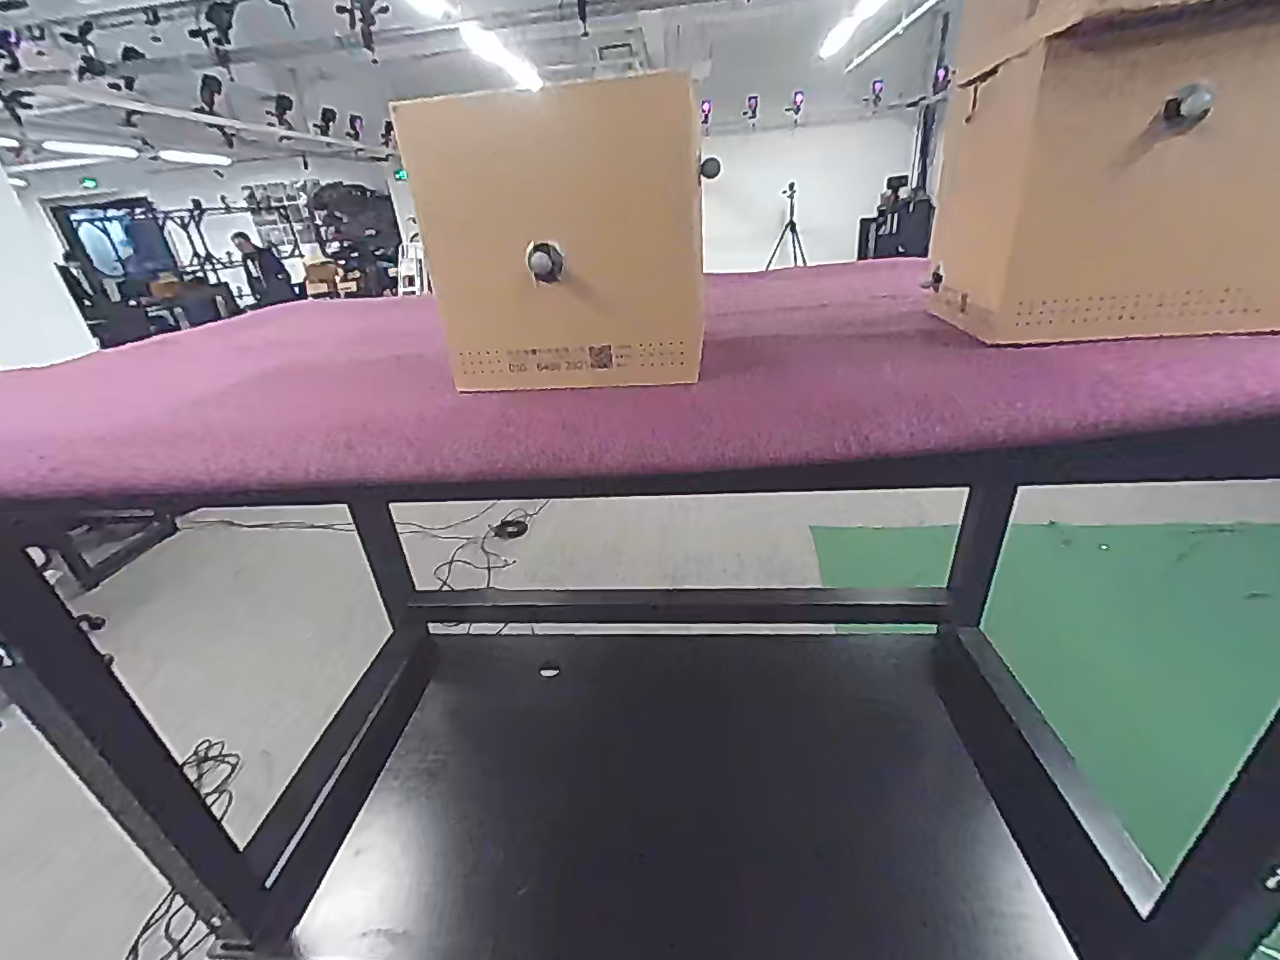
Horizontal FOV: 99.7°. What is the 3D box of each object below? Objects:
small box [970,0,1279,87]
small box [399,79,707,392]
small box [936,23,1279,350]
[{"bbox_3d":[0.307,-0.330,0.296,0.179,0.176,0.168,-1,26,8],"label":"small box"},{"bbox_3d":[-0.037,-0.167,0.396,0.168,0.176,0.179,0,27,8],"label":"small box"},{"bbox_3d":[0.325,-0.191,0.378,0.179,0.176,0.168,1,26,12],"label":"small box"}]
